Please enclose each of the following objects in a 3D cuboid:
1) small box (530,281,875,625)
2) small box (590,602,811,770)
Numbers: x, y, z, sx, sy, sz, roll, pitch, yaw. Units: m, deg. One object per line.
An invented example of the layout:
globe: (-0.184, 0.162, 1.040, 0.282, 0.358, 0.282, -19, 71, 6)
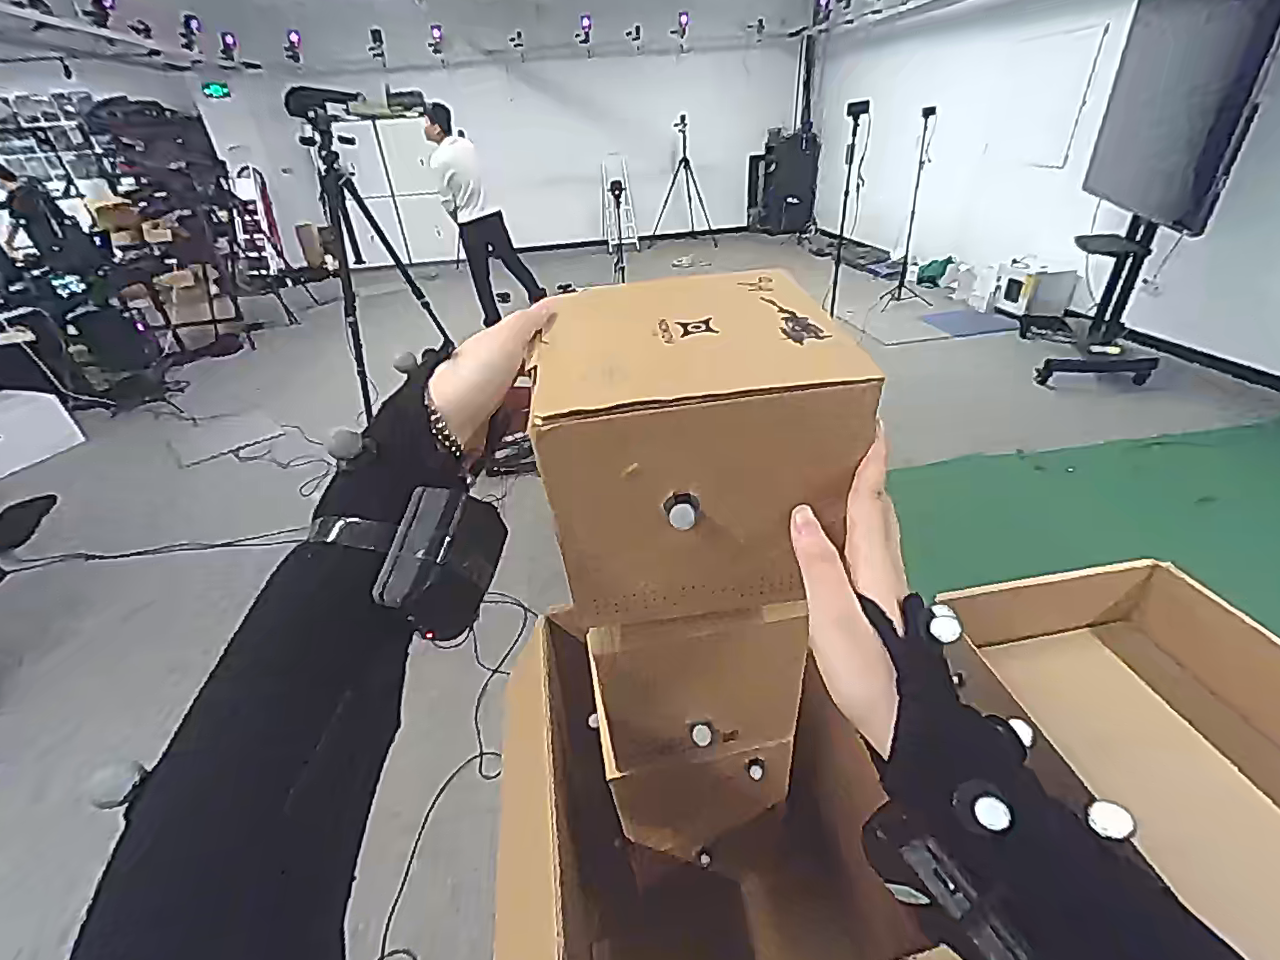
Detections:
small box: (0.033, -0.018, 0.375, 0.179, 0.176, 0.168, -7, 40, -1)
small box: (0.040, 0.133, 0.505, 0.168, 0.176, 0.179, -9, 36, -5)
